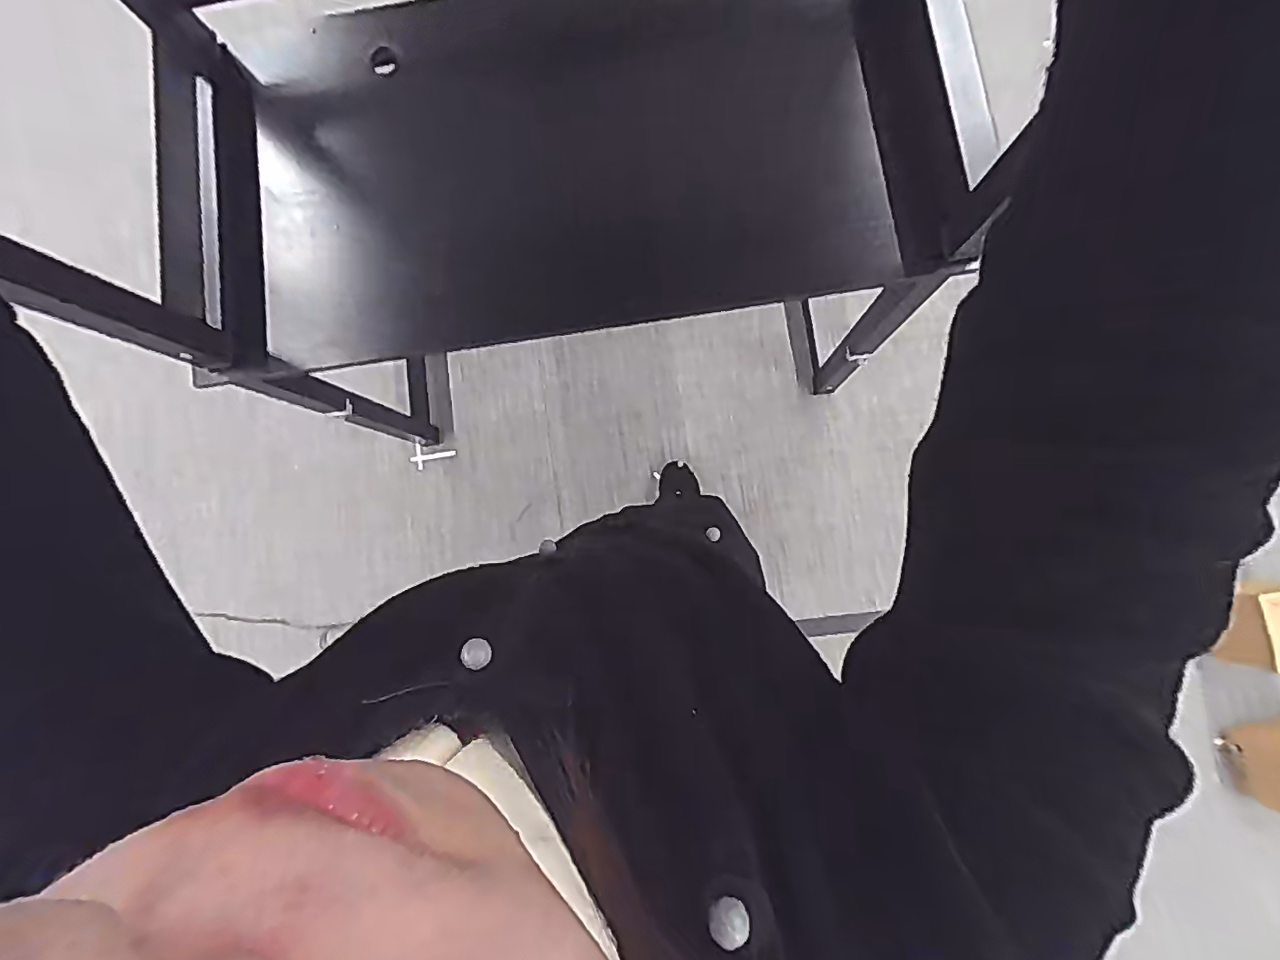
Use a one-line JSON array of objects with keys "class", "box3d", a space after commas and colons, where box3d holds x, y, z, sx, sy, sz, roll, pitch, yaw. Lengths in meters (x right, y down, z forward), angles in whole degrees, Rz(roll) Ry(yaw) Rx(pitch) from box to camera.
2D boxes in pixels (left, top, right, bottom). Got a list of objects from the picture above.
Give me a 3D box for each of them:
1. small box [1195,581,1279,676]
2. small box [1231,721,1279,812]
[{"class": "small box", "box3d": [1.482, 0.344, 1.275, 0.168, 0.176, 0.179, -8, 85, 4]}, {"class": "small box", "box3d": [1.536, 0.674, 1.243, 0.179, 0.176, 0.168, -15, 84, 3]}]
